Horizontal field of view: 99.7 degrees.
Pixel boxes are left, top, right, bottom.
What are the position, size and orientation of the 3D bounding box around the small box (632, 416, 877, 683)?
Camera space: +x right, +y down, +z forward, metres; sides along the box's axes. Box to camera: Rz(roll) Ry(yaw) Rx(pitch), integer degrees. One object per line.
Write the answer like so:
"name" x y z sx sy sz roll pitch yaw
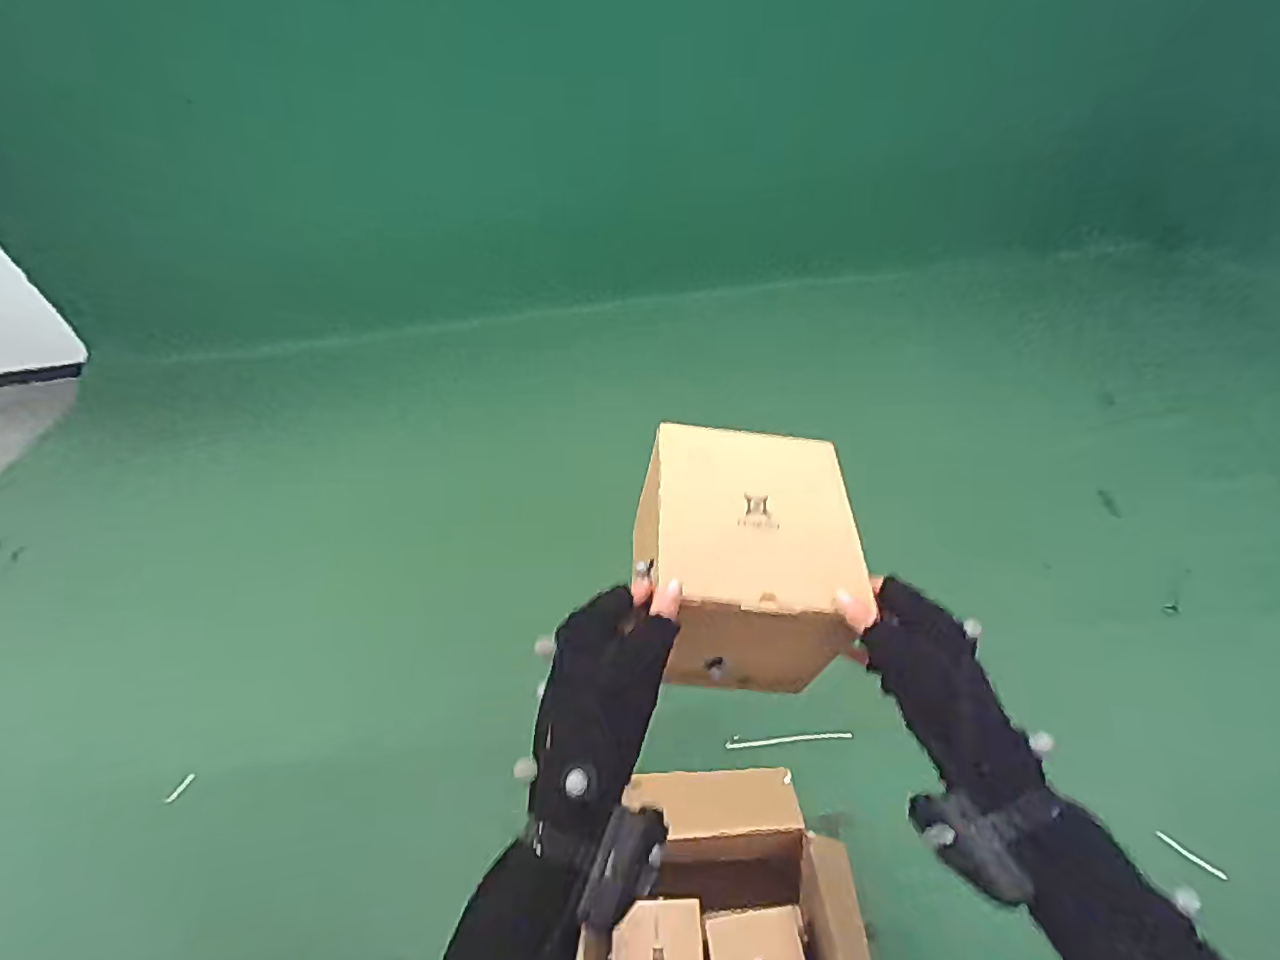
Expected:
"small box" 0.085 0.067 0.502 0.168 0.176 0.179 6 50 -5
